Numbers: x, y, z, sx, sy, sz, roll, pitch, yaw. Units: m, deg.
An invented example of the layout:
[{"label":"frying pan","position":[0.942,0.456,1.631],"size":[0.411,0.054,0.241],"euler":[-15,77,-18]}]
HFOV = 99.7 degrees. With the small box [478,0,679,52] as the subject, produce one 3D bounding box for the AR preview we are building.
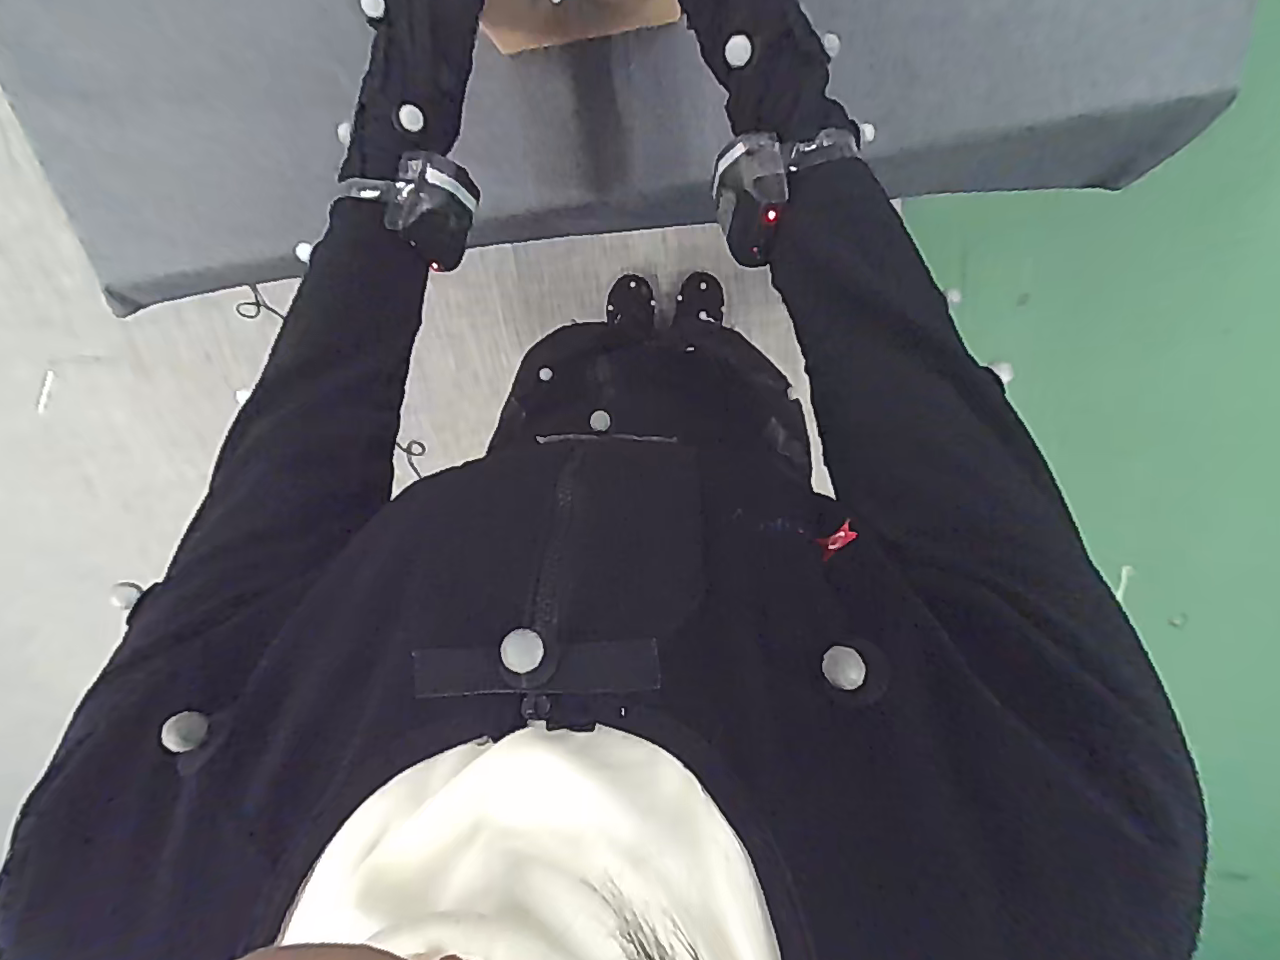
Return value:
[{"label":"small box","position":[-0.062,-0.475,0.426],"size":[0.179,0.176,0.168],"euler":[-7,112,5]}]
